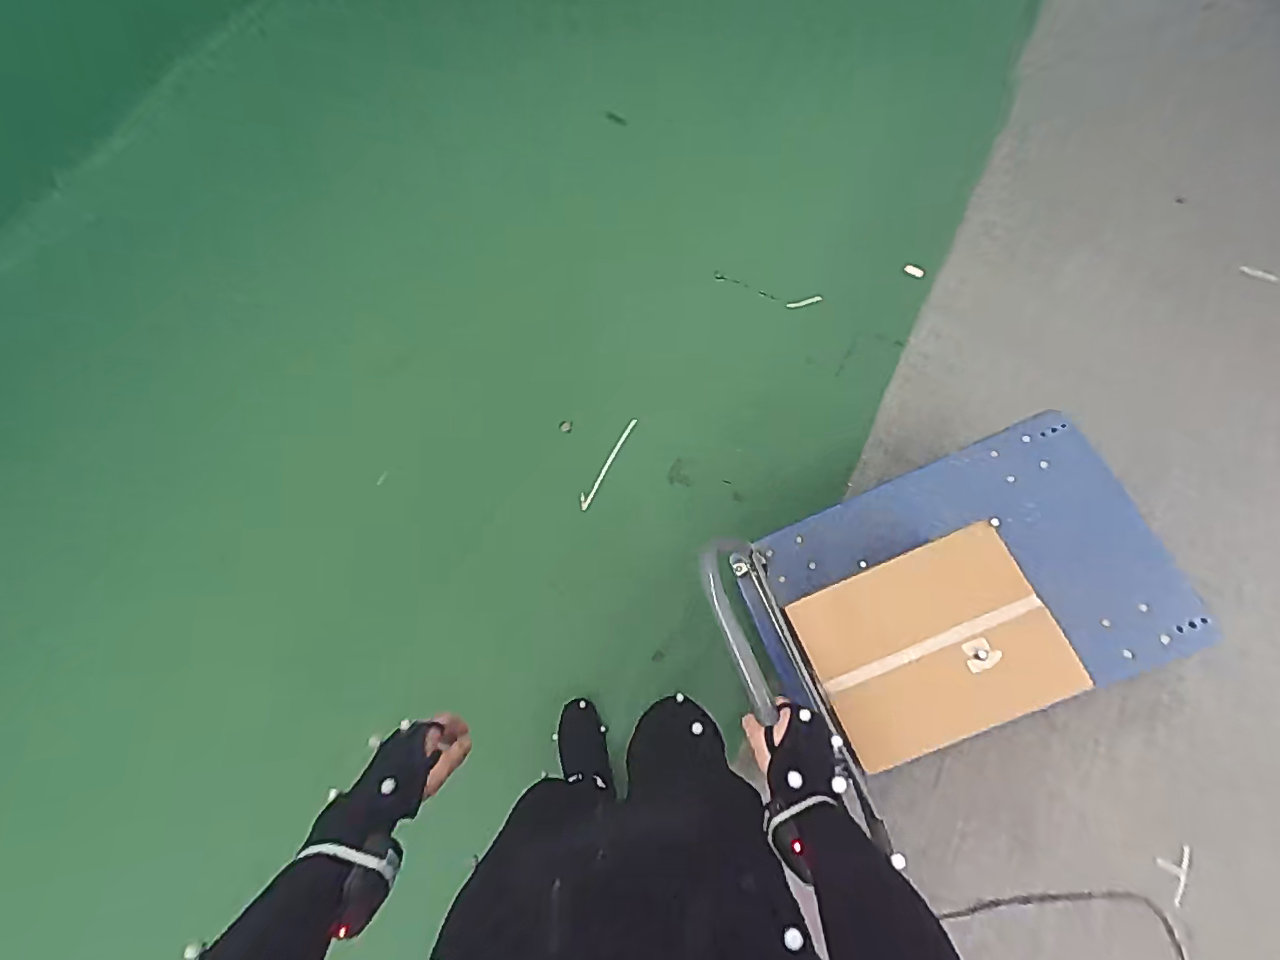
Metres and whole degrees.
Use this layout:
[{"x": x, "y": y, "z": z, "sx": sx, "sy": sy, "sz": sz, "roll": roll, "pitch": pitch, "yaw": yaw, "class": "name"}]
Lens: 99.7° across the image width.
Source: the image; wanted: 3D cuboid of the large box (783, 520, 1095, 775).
[{"x": 0.545, "y": 0.326, "z": 1.090, "sx": 0.408, "sy": 0.320, "sz": 0.320, "roll": -25, "pitch": 73, "yaw": 4, "class": "large box"}]
